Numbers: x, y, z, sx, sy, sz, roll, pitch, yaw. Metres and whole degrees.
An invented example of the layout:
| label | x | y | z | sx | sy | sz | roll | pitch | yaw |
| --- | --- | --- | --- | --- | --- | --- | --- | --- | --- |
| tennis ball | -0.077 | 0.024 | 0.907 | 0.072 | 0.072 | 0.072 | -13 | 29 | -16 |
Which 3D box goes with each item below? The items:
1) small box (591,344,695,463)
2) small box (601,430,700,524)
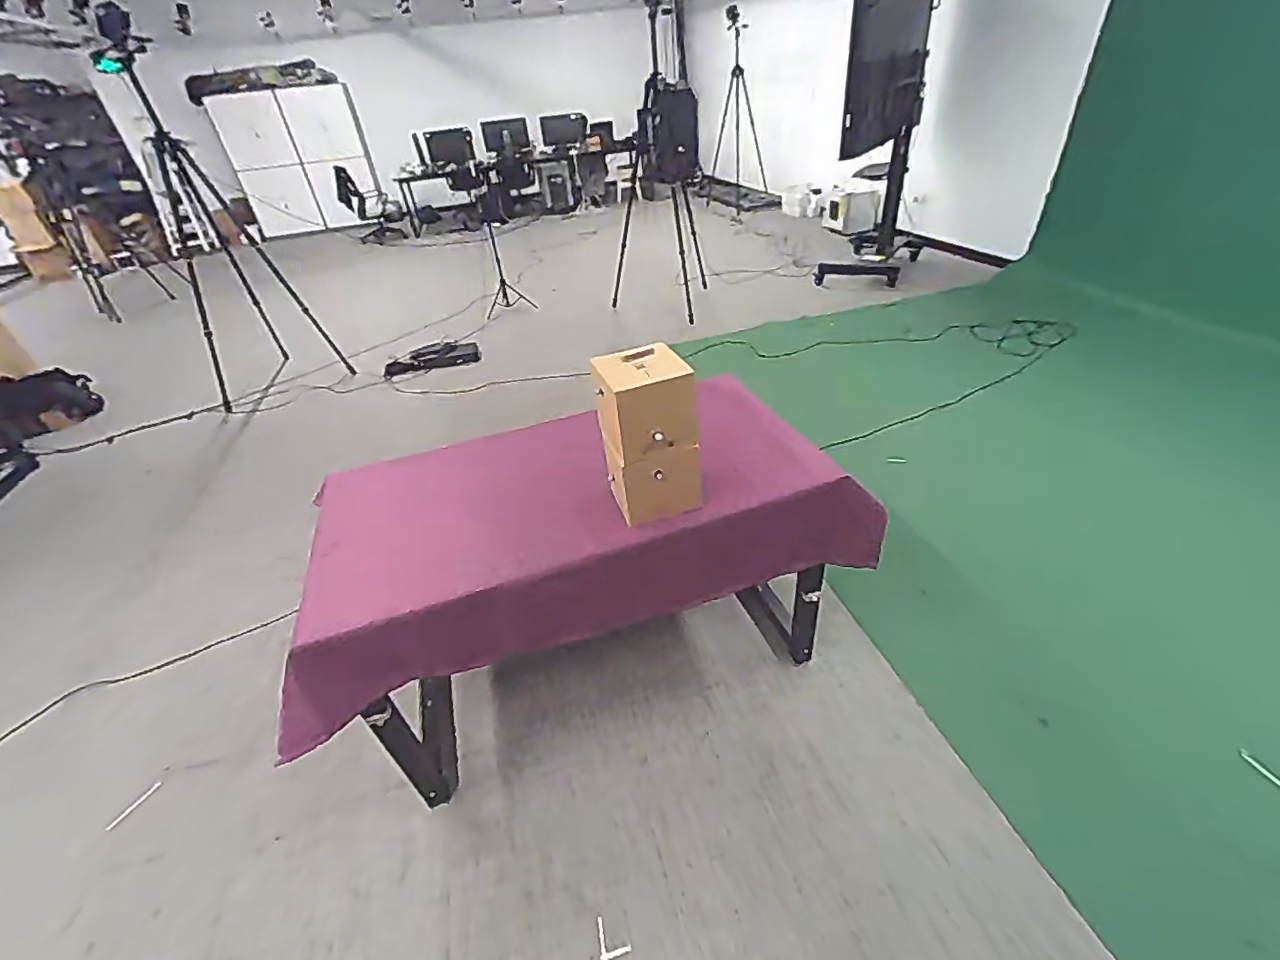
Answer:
| label | x | y | z | sx | sy | sz | roll | pitch | yaw |
| --- | --- | --- | --- | --- | --- | --- | --- | --- | --- |
| small box | 0.006 | -0.161 | 1.124 | 0.168 | 0.176 | 0.179 | -17 | 38 | -12 |
| small box | 0.026 | -0.025 | 1.215 | 0.179 | 0.176 | 0.168 | -15 | 37 | -10 |
